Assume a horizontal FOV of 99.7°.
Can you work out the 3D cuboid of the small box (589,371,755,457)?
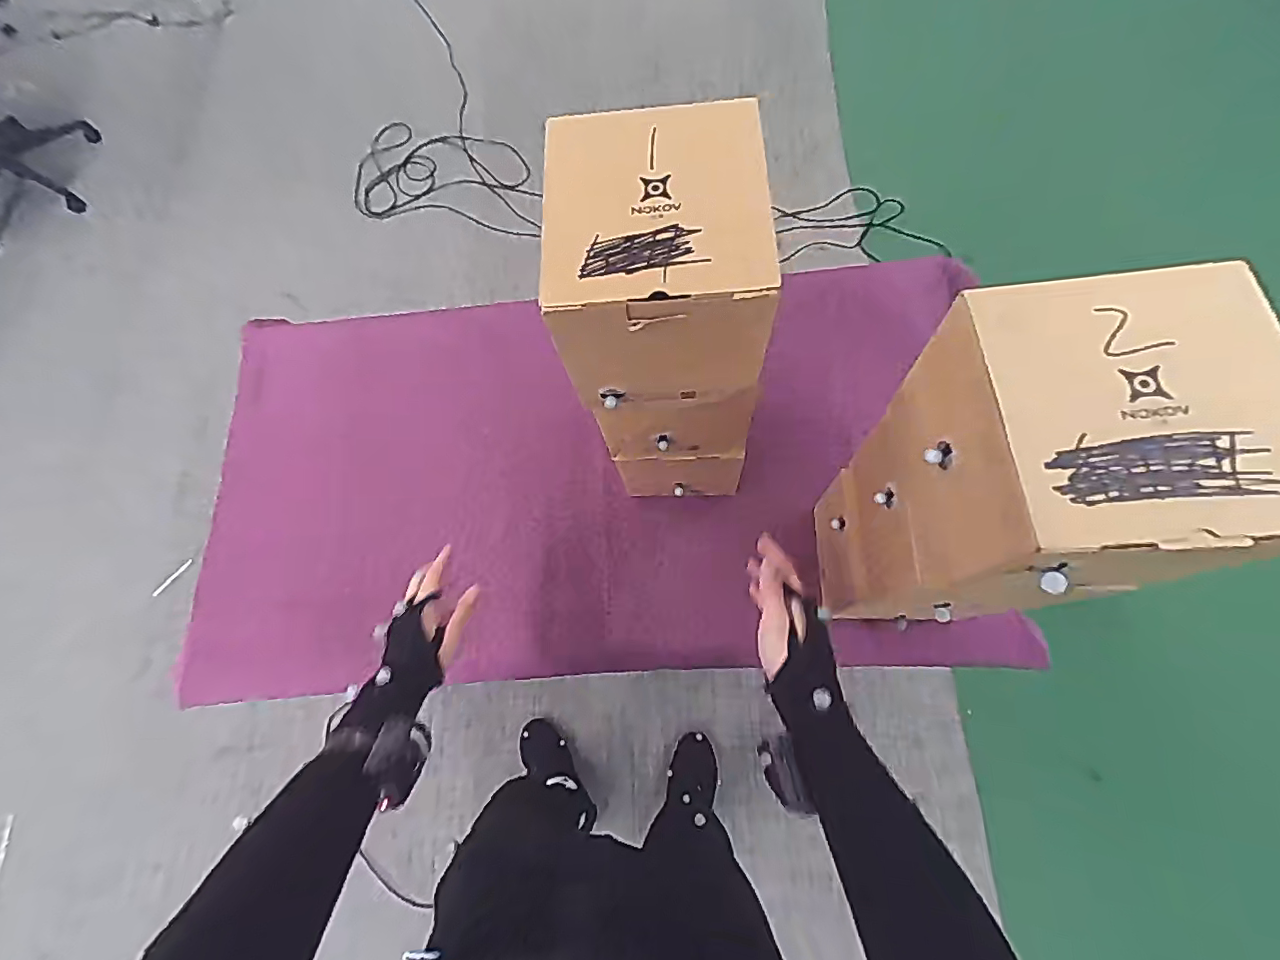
[{"bbox_3d":[0.034,-0.139,0.630,0.168,0.176,0.179,-3,73,4],"label":"small box"}]

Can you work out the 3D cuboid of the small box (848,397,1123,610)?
[{"bbox_3d":[0.320,0.032,0.546,0.168,0.176,0.179,-1,71,6],"label":"small box"}]

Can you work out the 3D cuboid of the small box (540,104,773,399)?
[{"bbox_3d":[0.017,-0.179,0.471,0.168,0.176,0.179,-2,72,4],"label":"small box"}]

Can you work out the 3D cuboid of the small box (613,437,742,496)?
[{"bbox_3d":[0.055,-0.085,0.781,0.168,0.176,0.179,0,72,5],"label":"small box"}]

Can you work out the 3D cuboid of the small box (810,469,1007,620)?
[{"bbox_3d":[0.332,0.089,0.701,0.179,0.176,0.168,-1,71,6],"label":"small box"}]
